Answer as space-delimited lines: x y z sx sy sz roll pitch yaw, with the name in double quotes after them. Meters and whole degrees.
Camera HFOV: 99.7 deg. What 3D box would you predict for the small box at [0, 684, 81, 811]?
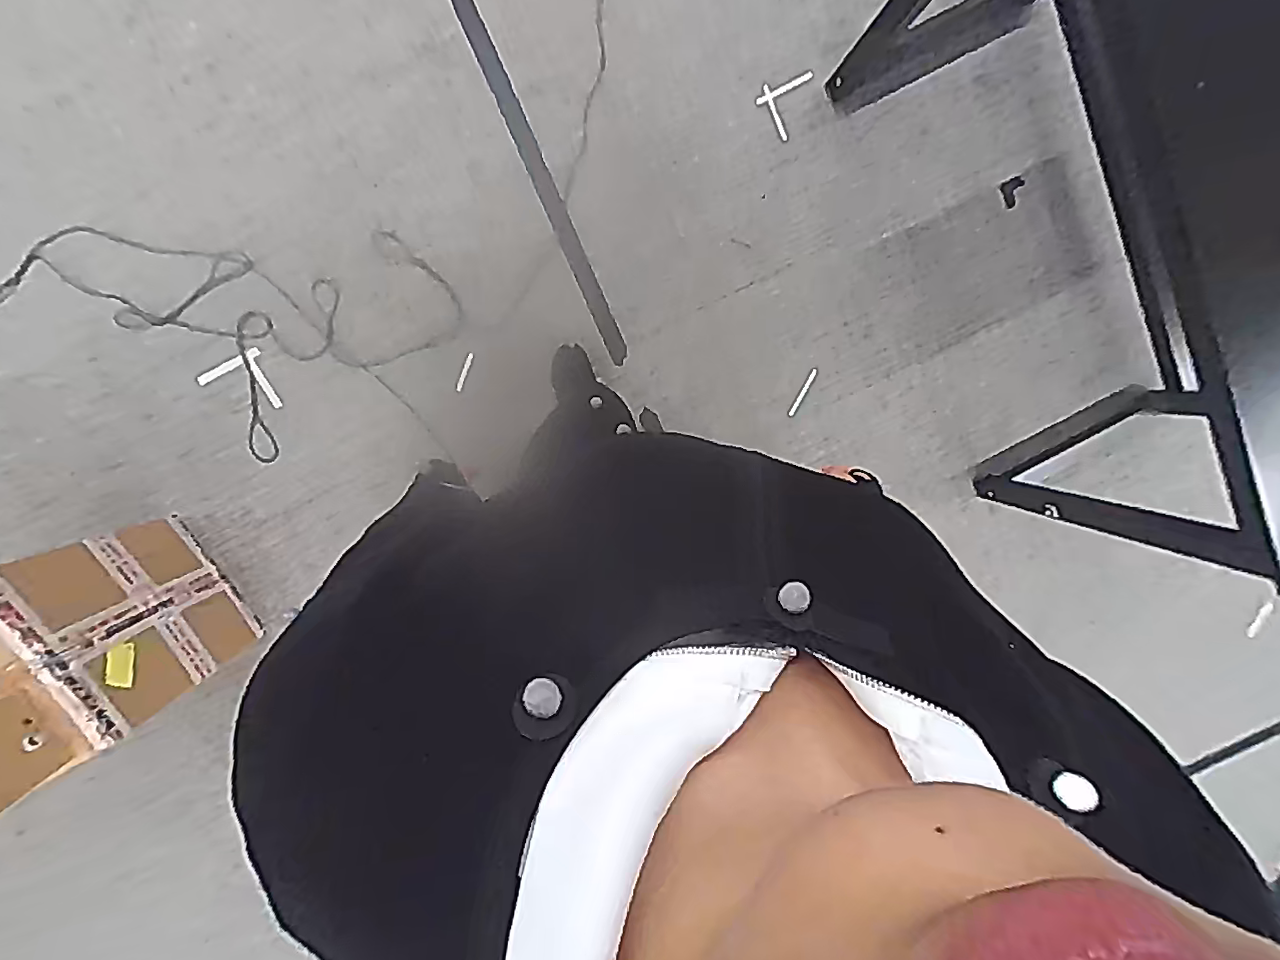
-1.148 0.490 0.924 0.179 0.176 0.168 -27 102 -4 "small box"
